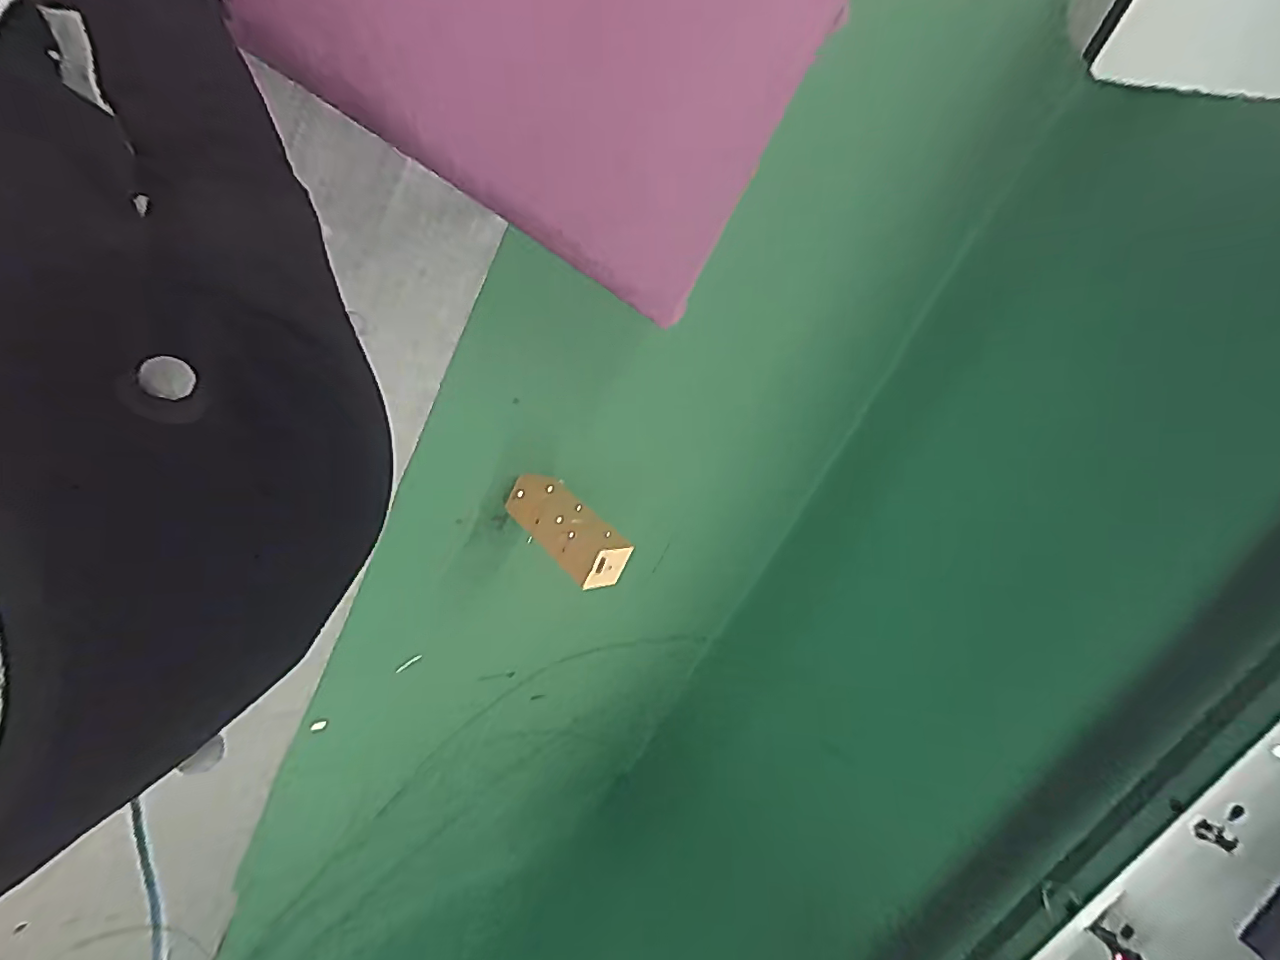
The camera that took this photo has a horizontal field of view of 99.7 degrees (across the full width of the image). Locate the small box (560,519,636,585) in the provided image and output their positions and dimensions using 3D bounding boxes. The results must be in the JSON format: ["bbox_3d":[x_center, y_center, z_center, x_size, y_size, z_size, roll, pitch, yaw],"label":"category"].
[{"bbox_3d":[-0.155,0.250,1.919,0.179,0.176,0.168,2,120,-51],"label":"small box"}]

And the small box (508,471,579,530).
[{"bbox_3d":[-0.375,0.079,2.095,0.179,0.176,0.168,11,113,-52],"label":"small box"}]
